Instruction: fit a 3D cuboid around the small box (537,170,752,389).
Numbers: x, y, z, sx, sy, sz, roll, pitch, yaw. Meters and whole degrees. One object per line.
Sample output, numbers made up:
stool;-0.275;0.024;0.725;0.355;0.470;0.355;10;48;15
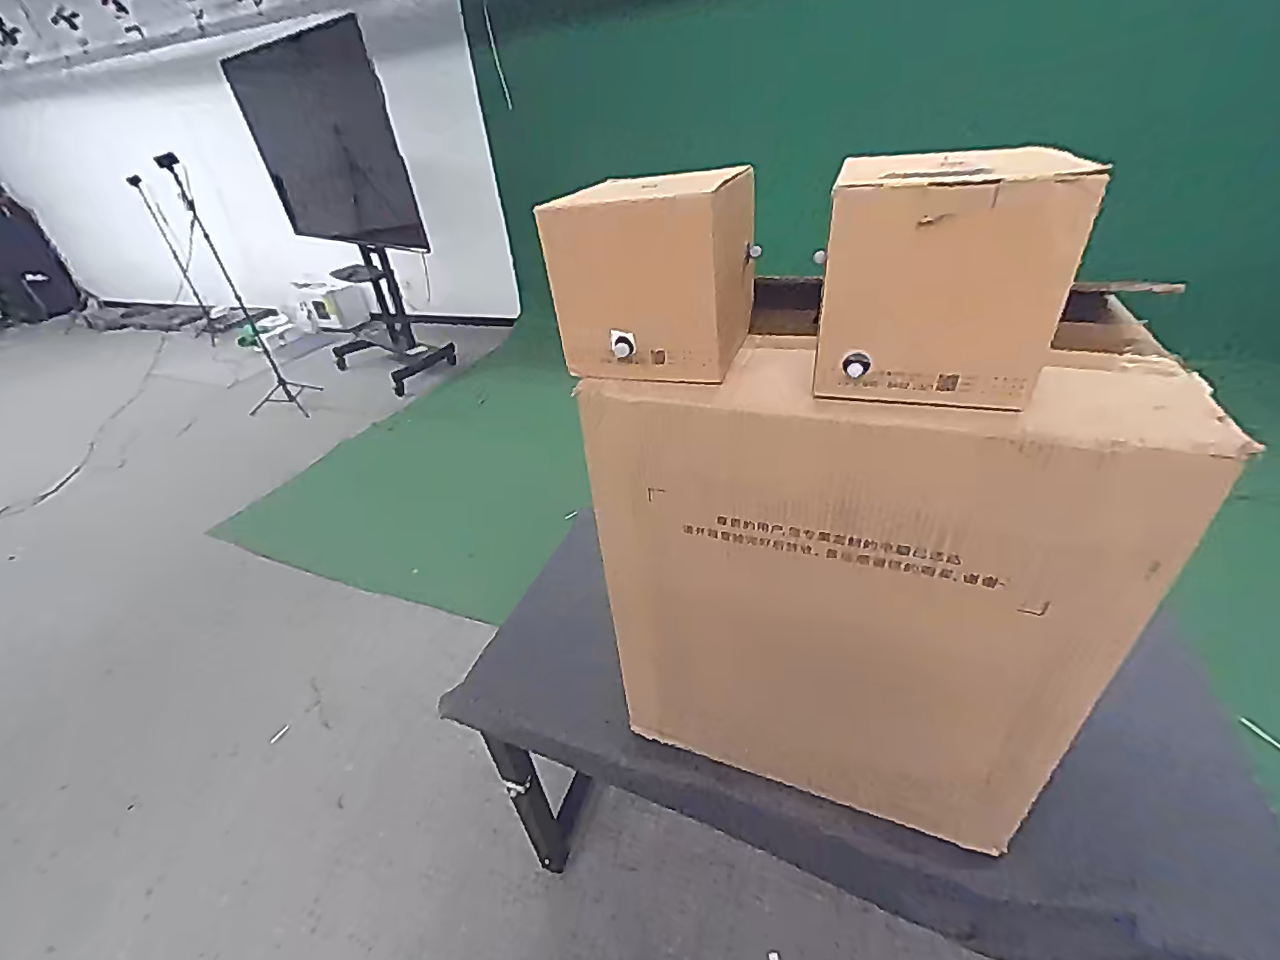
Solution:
small box;0.020;-0.210;0.564;0.168;0.176;0.179;5;37;21

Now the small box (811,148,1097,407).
small box;0.246;-0.176;0.469;0.168;0.176;0.179;8;37;19
